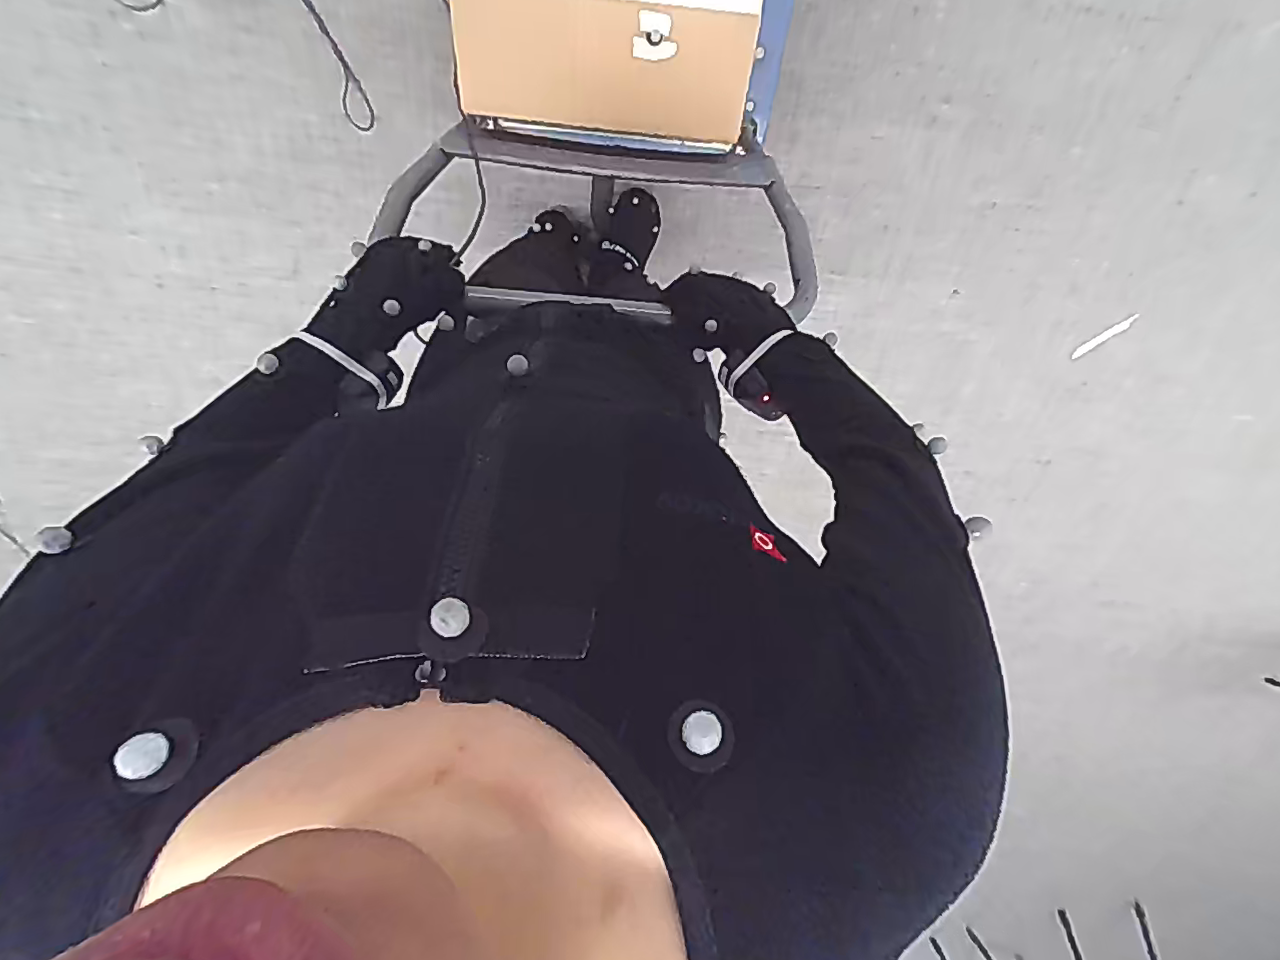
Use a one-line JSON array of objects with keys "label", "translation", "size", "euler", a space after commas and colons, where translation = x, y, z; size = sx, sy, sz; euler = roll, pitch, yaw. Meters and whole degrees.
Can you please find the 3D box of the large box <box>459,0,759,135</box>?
[{"label": "large box", "translation": [-0.043, -0.739, 0.816], "size": [0.408, 0.320, 0.320], "euler": [3, 131, -4]}]
